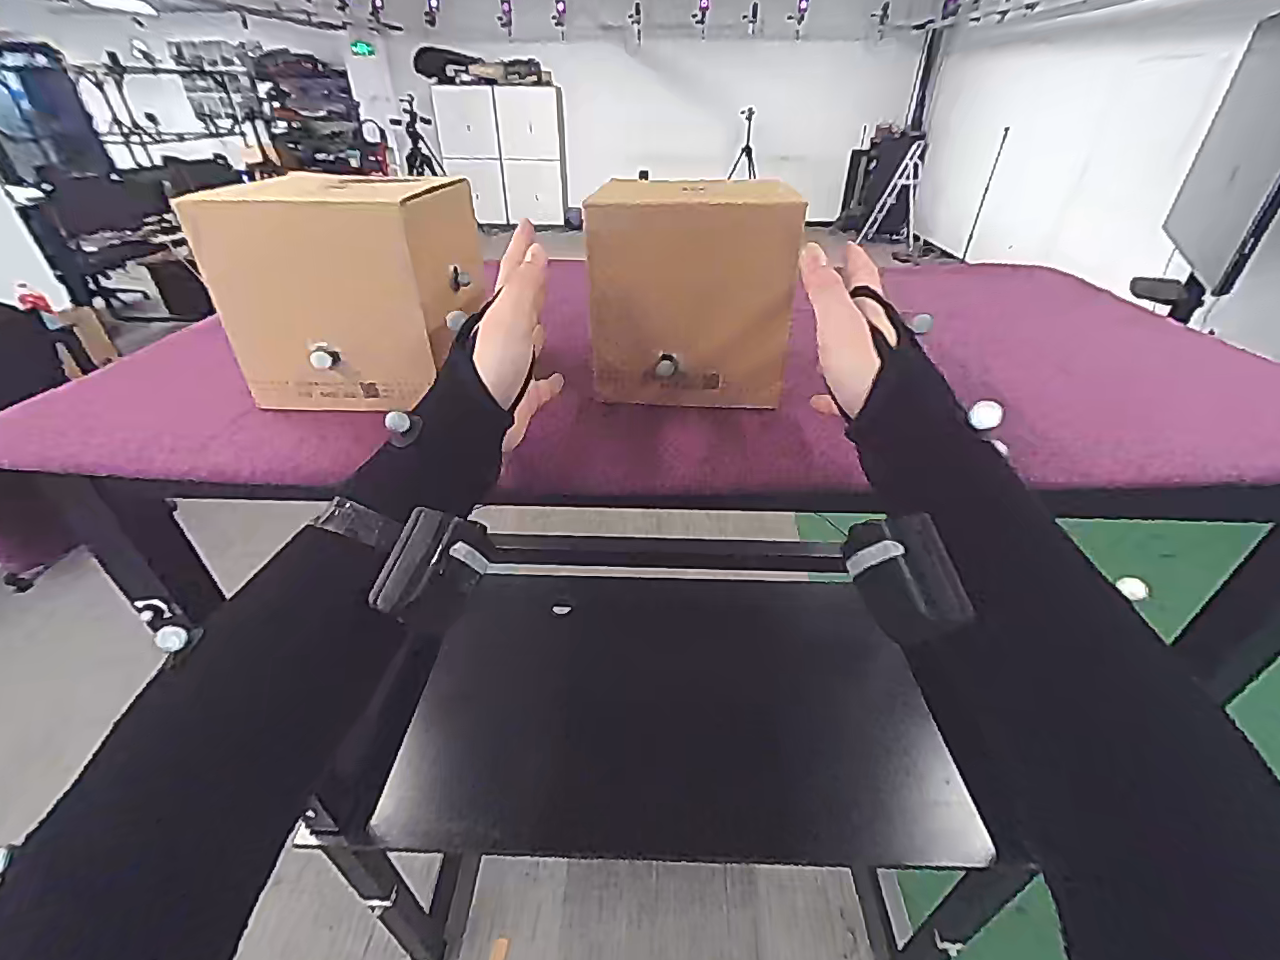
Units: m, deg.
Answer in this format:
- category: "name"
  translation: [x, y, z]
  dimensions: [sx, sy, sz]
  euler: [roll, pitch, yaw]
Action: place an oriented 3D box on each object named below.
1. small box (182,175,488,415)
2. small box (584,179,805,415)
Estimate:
- category: "small box"
  translation: [-0.246, -0.175, 0.497]
  dimensions: [0.168, 0.176, 0.179]
  euler: [1, 35, 1]
- category: "small box"
  translation: [0.045, -0.177, 0.507]
  dimensions: [0.168, 0.176, 0.179]
  euler: [2, 35, 4]
